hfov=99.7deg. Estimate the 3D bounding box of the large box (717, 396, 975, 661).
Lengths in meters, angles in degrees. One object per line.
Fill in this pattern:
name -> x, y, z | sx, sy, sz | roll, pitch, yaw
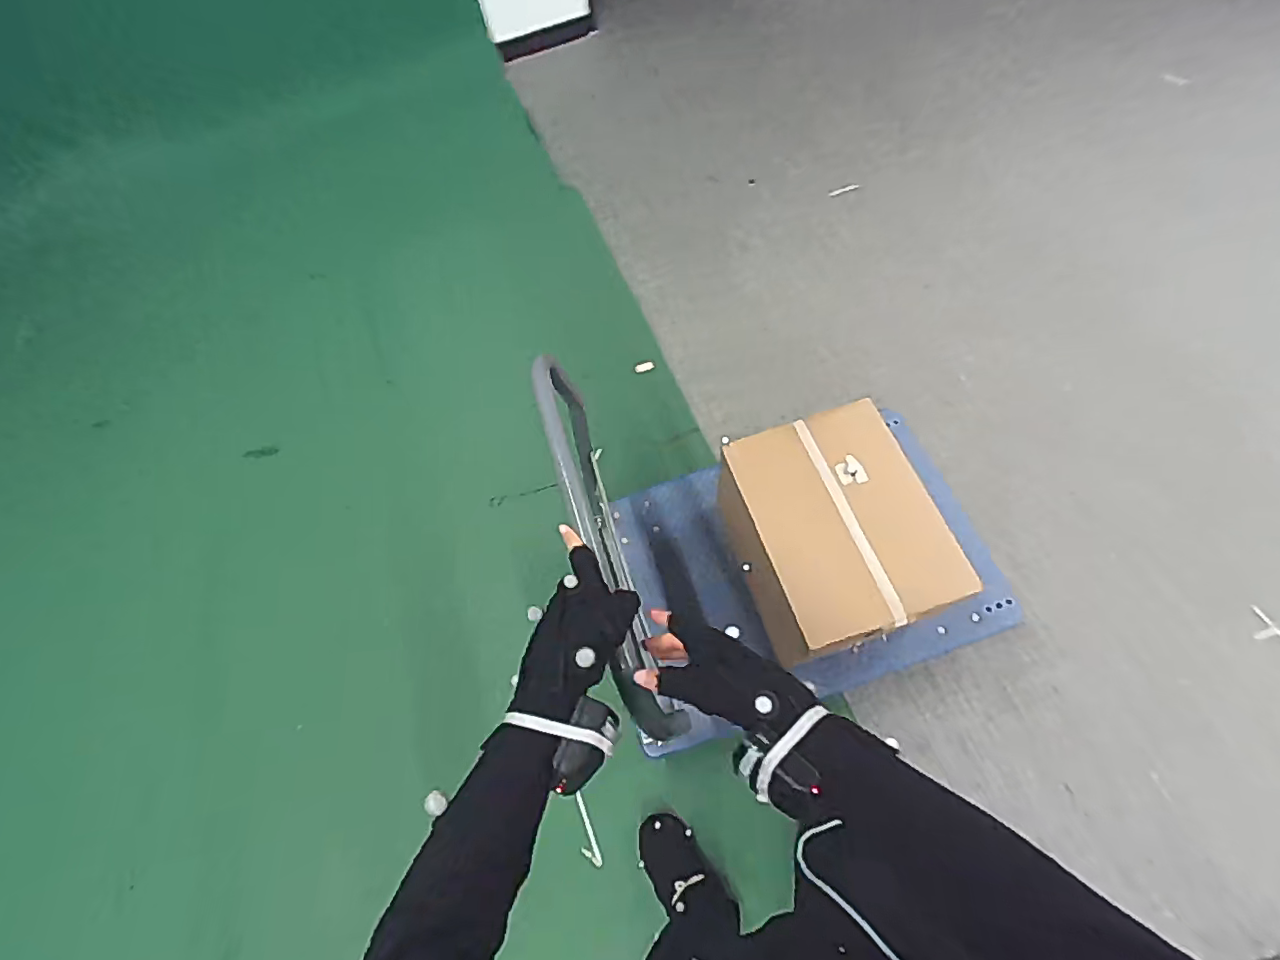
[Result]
large box -> 0.375, 0.111, 1.115 | 0.320, 0.320, 0.408 | -18, 64, -3
